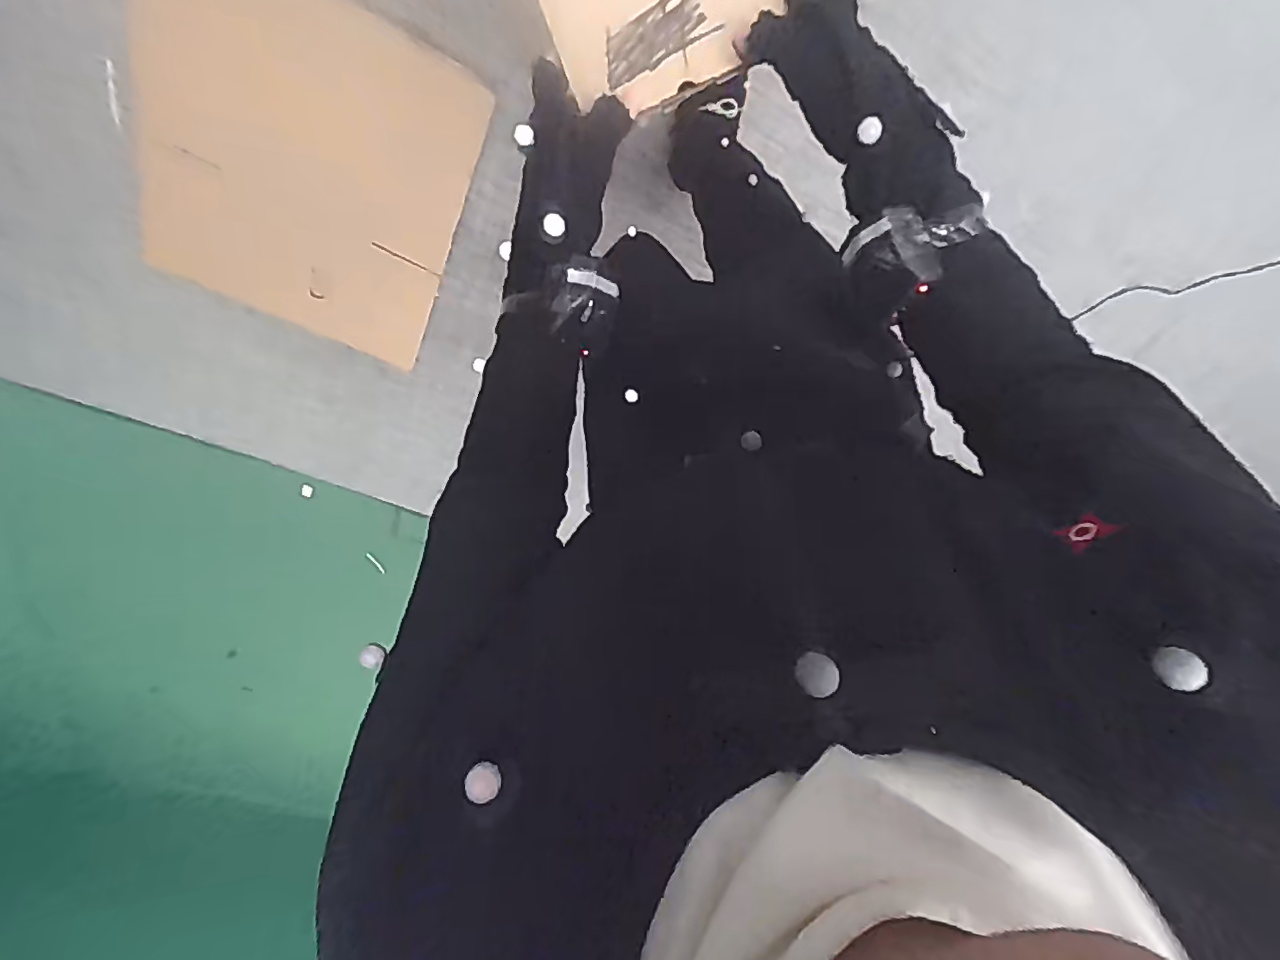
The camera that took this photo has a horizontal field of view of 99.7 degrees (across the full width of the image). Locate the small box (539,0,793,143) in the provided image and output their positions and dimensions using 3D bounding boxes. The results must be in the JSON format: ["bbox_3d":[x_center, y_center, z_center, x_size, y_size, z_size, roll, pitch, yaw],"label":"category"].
[{"bbox_3d":[0.012,-0.412,0.437,0.168,0.176,0.179,-18,124,18],"label":"small box"}]
